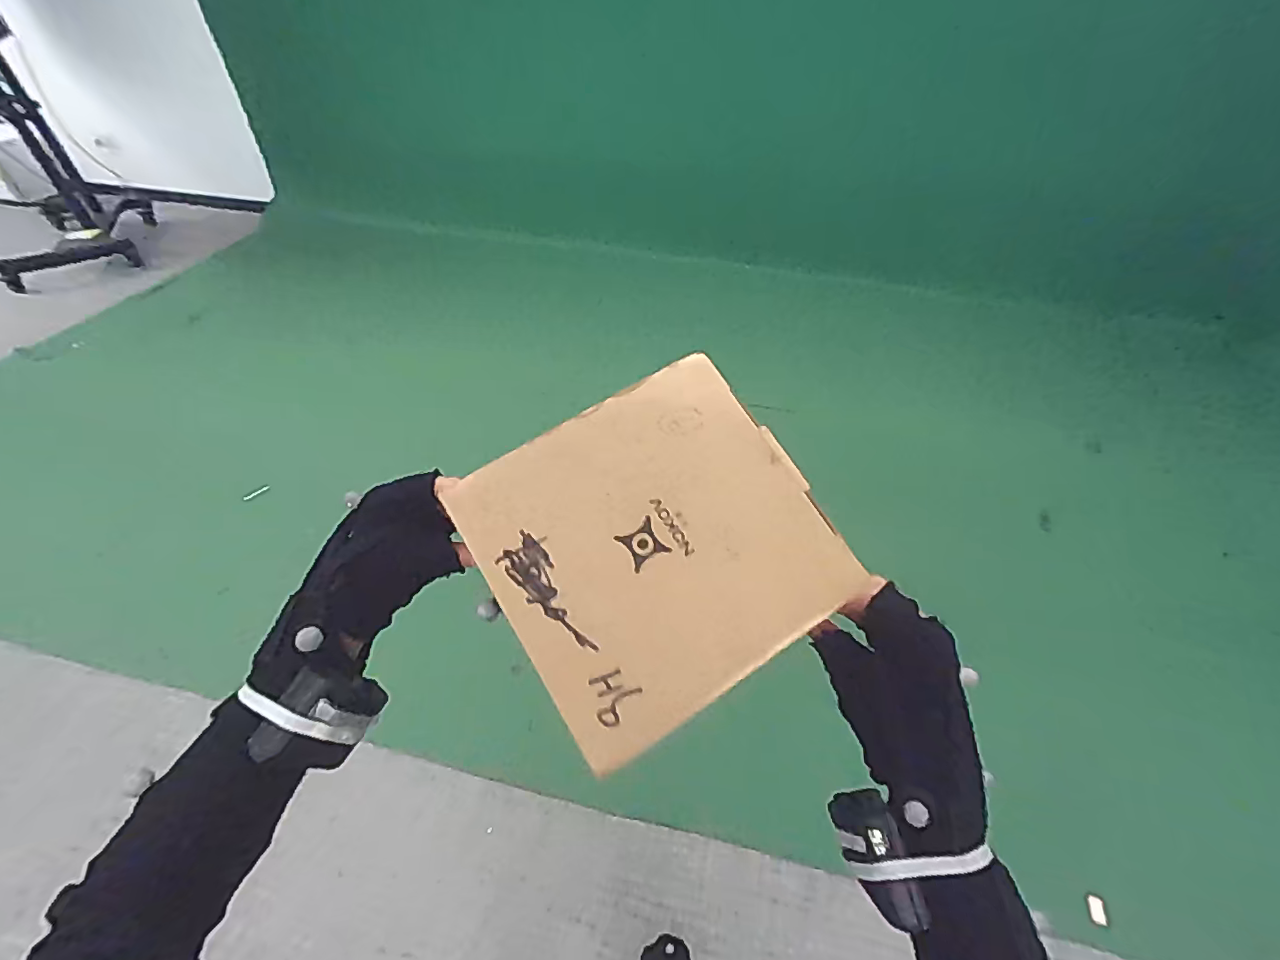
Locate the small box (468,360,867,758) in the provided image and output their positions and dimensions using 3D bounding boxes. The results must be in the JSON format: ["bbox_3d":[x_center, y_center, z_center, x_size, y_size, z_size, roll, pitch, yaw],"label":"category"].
[{"bbox_3d":[0.008,0.054,0.377,0.179,0.176,0.168,-30,77,-14],"label":"small box"}]
